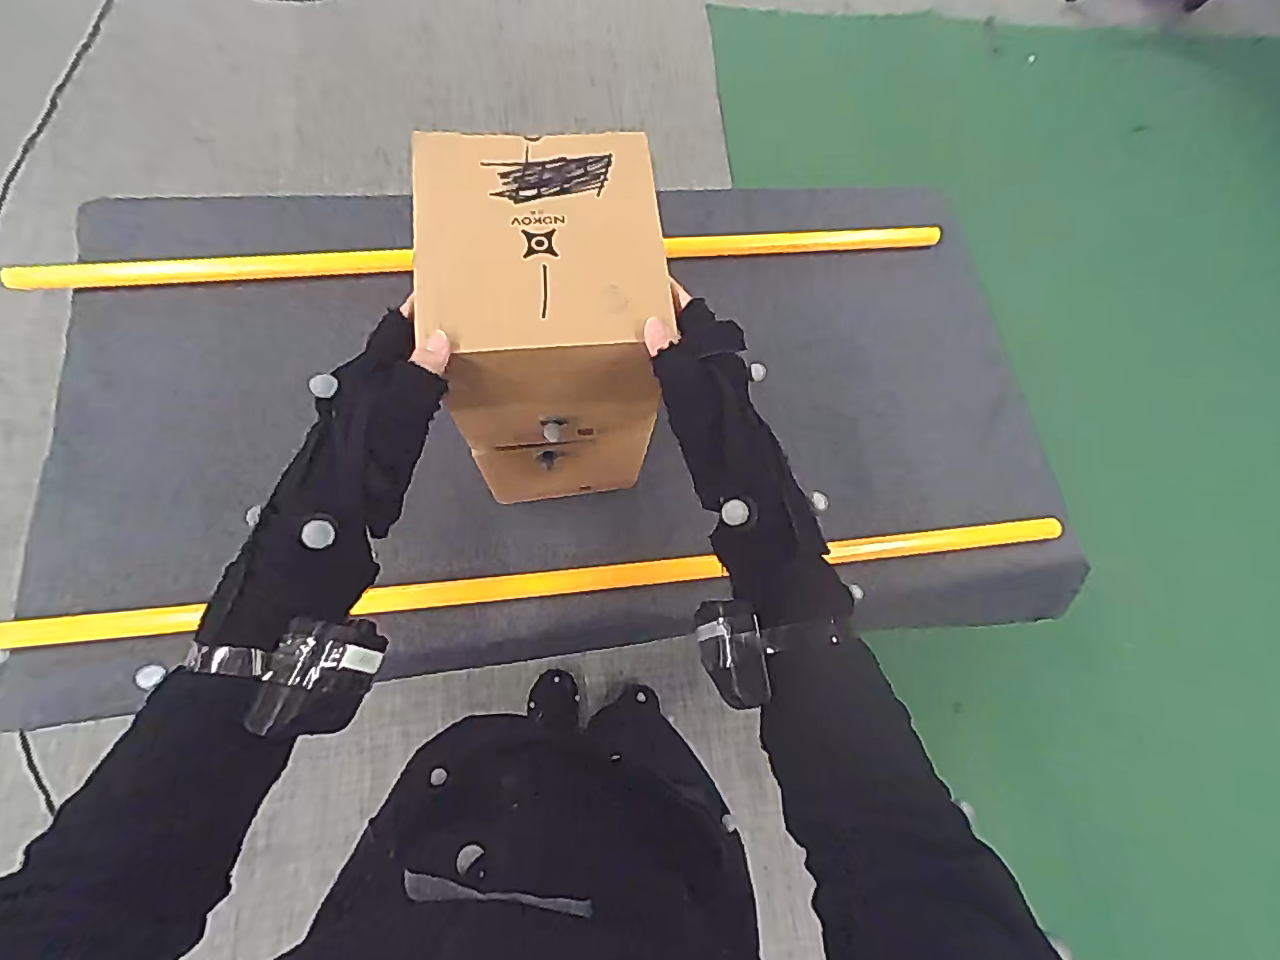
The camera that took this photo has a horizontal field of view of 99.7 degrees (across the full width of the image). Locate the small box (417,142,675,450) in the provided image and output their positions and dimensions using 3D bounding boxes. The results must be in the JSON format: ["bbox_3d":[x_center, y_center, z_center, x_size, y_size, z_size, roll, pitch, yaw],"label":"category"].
[{"bbox_3d":[-0.074,-0.139,0.444,0.168,0.176,0.179,-5,74,-6],"label":"small box"}]

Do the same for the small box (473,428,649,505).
[{"bbox_3d":[-0.092,-0.086,0.601,0.168,0.176,0.179,-7,72,-8],"label":"small box"}]
